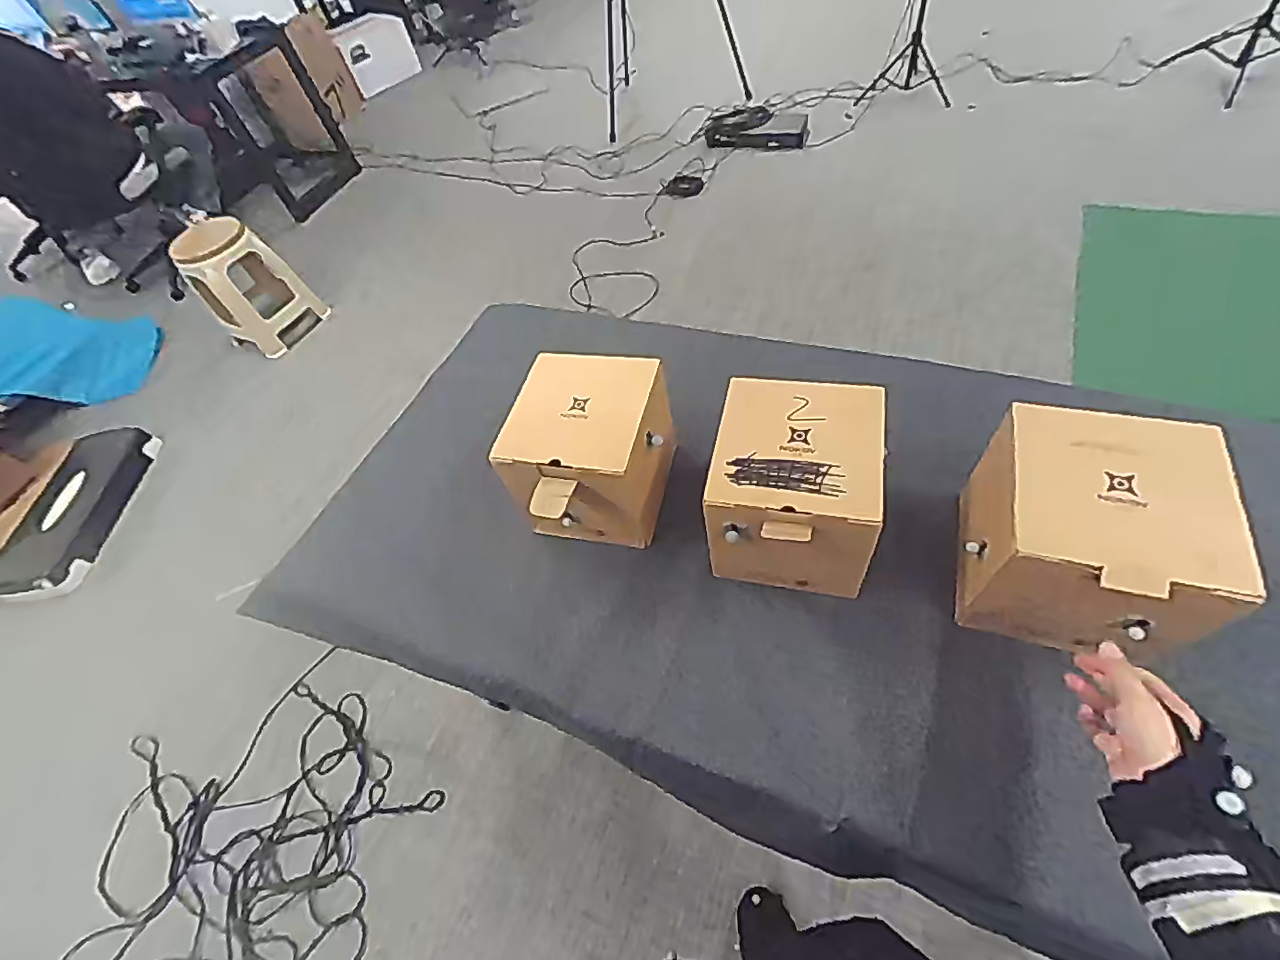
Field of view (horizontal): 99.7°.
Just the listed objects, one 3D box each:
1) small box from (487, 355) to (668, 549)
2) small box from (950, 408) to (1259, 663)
[{"bbox_3d":[-0.064,-0.035,0.692,0.168,0.176,0.179,6,57,15],"label":"small box"},{"bbox_3d":[0.423,0.058,0.532,0.168,0.176,0.179,11,57,17],"label":"small box"}]
